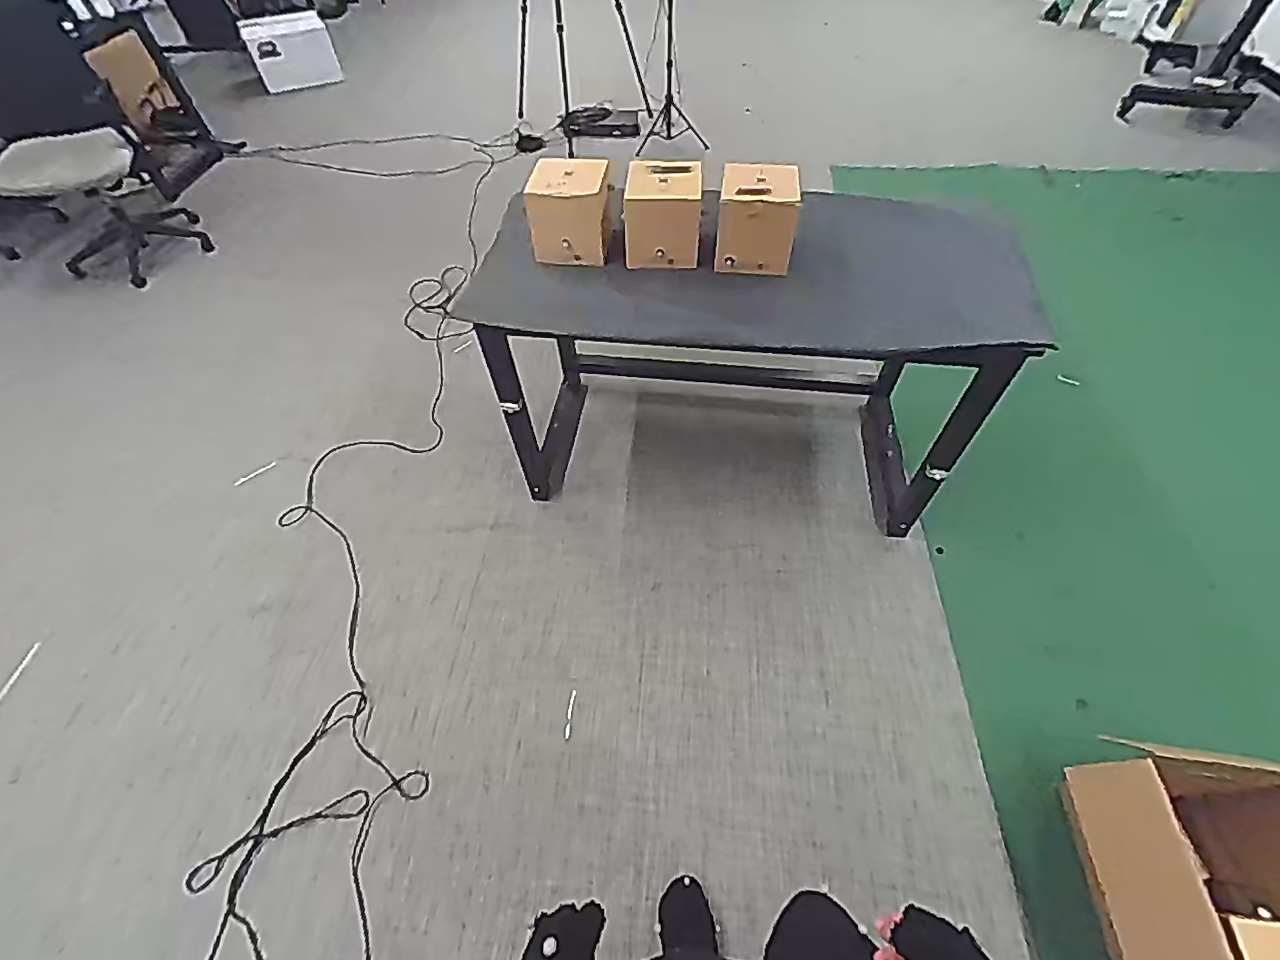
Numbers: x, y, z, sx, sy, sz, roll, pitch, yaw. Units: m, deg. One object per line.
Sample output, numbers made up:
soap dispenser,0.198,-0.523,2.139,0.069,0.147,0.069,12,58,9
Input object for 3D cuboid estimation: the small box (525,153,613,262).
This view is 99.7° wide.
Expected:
small box,-0.156,-0.637,1.265,0.168,0.176,0.179,4,54,5
